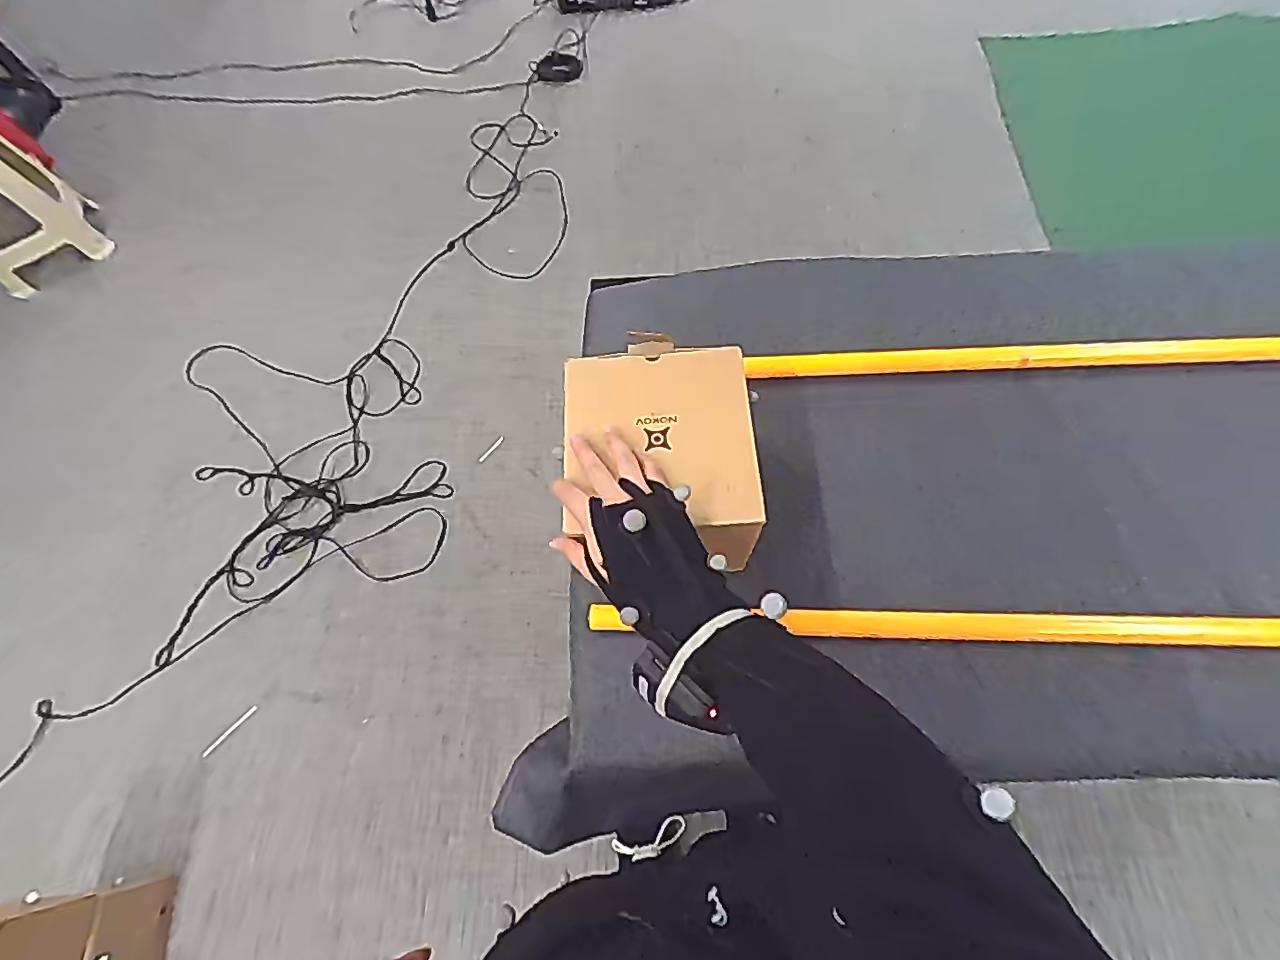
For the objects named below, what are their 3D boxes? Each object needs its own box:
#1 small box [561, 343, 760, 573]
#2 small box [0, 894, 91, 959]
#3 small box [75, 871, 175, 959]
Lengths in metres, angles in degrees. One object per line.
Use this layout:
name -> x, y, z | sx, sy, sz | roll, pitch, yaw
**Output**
small box -> 0.020, -0.009, 0.541 | 0.168, 0.176, 0.179 | -4, 65, 2
small box -> -1.066, 0.805, 0.876 | 0.168, 0.176, 0.179 | -6, 65, 1
small box -> -1.046, 0.880, 1.026 | 0.179, 0.176, 0.168 | -13, 70, 0
